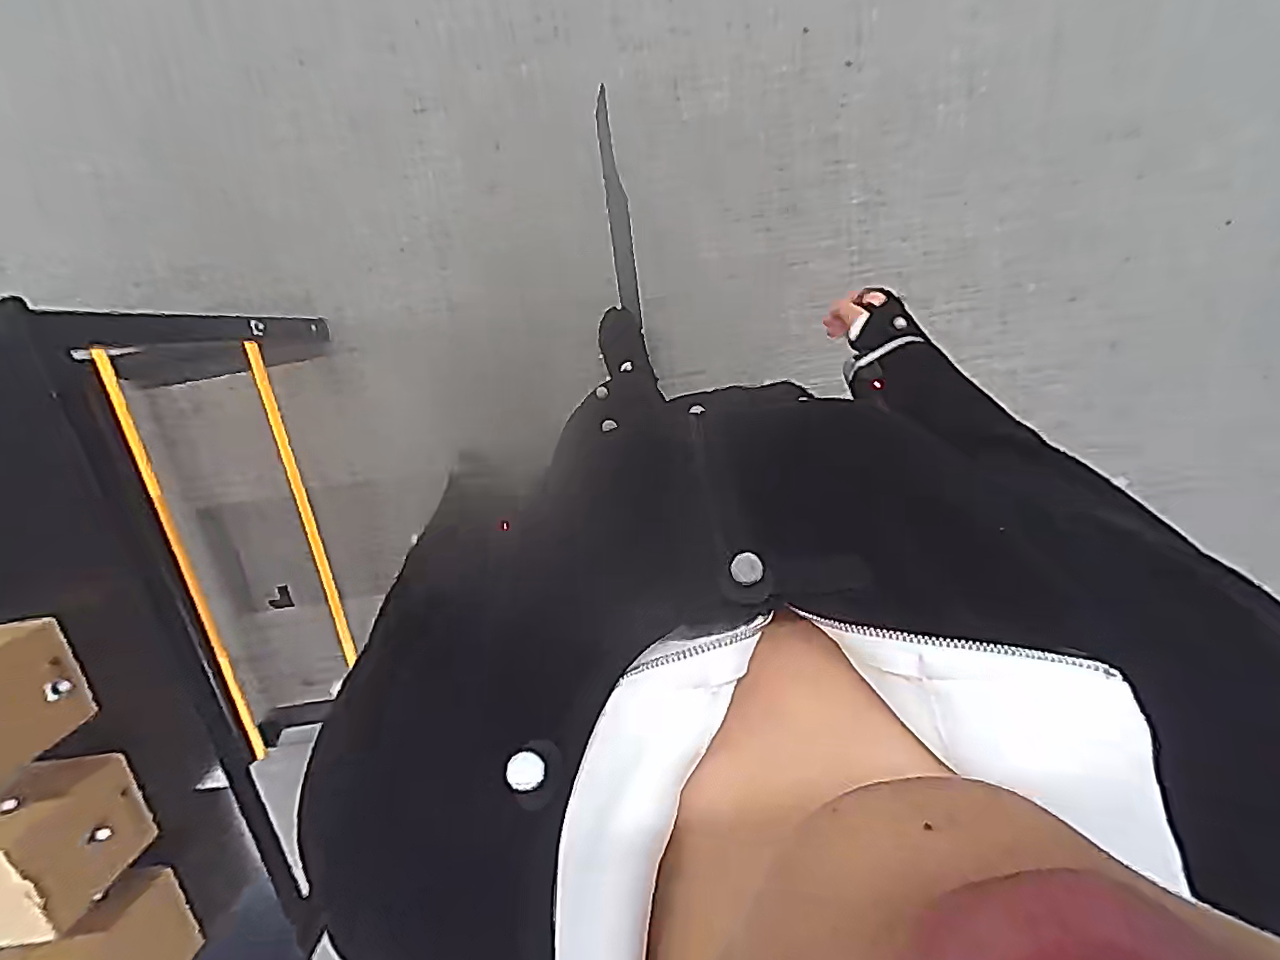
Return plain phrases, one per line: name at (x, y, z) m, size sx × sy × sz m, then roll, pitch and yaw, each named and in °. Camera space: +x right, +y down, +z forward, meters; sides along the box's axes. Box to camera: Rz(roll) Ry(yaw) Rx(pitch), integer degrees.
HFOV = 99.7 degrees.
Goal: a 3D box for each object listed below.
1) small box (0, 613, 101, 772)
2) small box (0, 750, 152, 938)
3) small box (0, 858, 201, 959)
small box at (-0.925, 0.304, 0.743) m, size 0.179 × 0.176 × 0.168 m, roll -10°, pitch 107°, yaw 1°
small box at (-0.888, 0.531, 0.804) m, size 0.179 × 0.176 × 0.168 m, roll -8°, pitch 105°, yaw 1°
small box at (-0.862, 0.754, 0.866) m, size 0.168 × 0.176 × 0.179 m, roll -8°, pitch 105°, yaw 1°
